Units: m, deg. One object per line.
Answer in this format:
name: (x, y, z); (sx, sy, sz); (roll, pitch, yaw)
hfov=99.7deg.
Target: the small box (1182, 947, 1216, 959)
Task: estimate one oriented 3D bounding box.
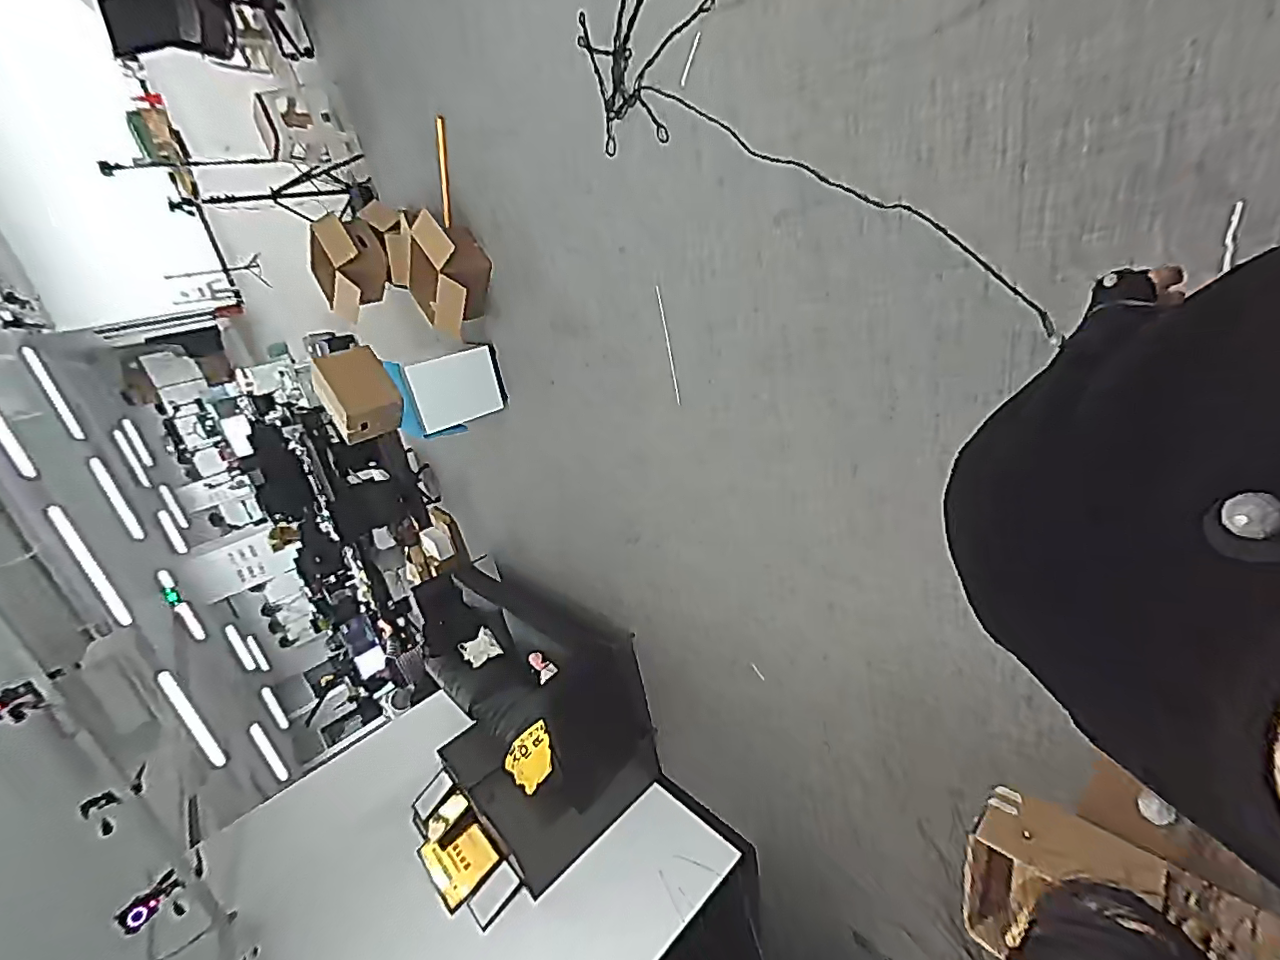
small box: (1.142, 1.079, 1.041); (0.168, 0.176, 0.179); (11, 120, 49)
